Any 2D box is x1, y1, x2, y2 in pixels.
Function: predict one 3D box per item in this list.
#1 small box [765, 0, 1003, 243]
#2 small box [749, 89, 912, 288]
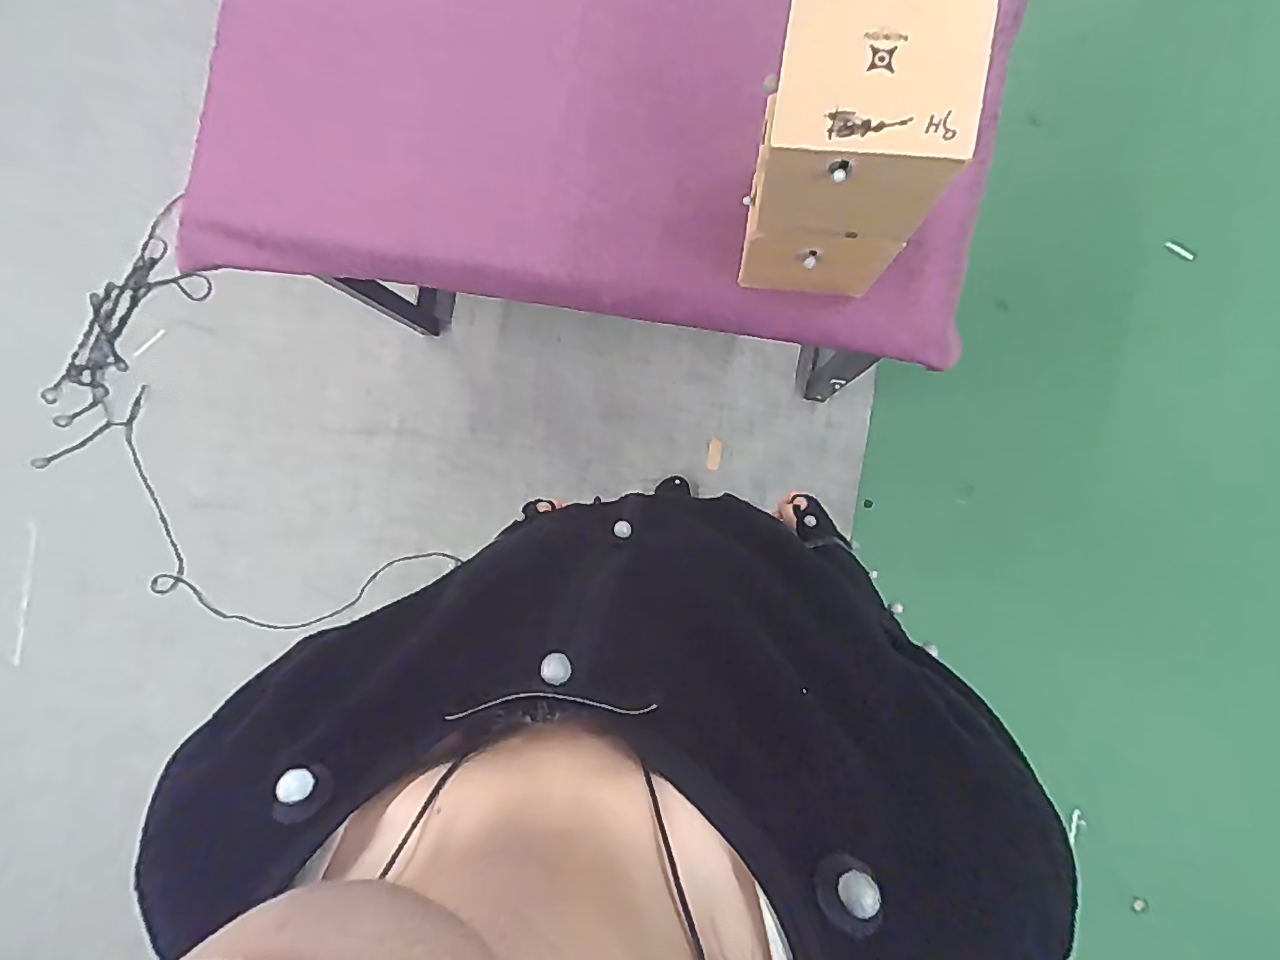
[{"bbox_3d":[0.219,-0.359,0.525,0.168,0.176,0.179,9,91,10],"label":"small box"},{"bbox_3d":[0.240,-0.356,0.688,0.179,0.176,0.168,8,91,9],"label":"small box"}]
